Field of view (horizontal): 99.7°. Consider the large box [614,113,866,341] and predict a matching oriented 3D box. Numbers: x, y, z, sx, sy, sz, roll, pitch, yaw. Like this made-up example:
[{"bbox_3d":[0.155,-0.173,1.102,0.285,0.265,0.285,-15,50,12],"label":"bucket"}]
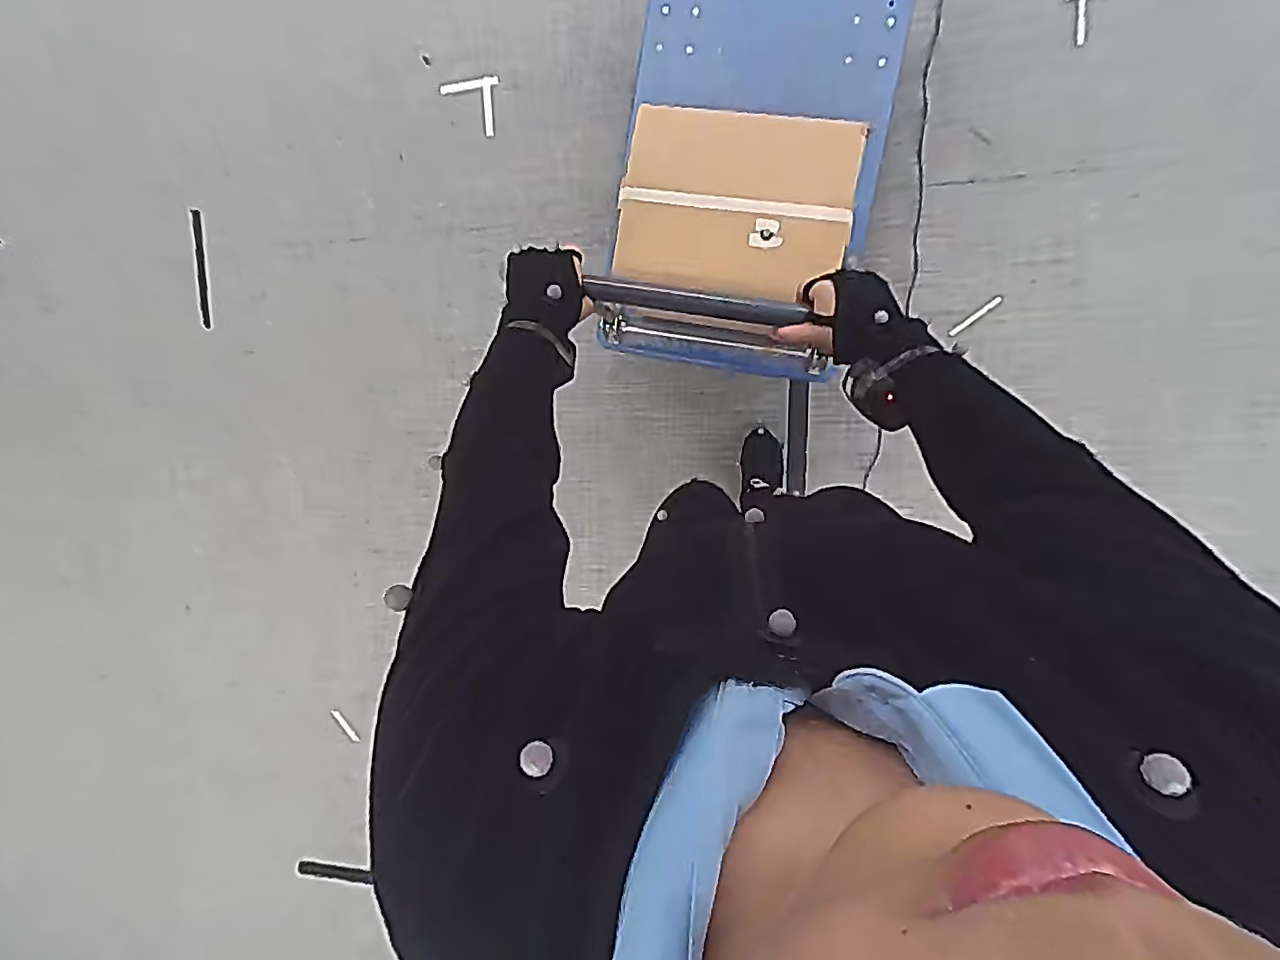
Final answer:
[{"bbox_3d":[0.188,-0.487,1.101,0.408,0.320,0.320,11,97,8],"label":"large box"}]
